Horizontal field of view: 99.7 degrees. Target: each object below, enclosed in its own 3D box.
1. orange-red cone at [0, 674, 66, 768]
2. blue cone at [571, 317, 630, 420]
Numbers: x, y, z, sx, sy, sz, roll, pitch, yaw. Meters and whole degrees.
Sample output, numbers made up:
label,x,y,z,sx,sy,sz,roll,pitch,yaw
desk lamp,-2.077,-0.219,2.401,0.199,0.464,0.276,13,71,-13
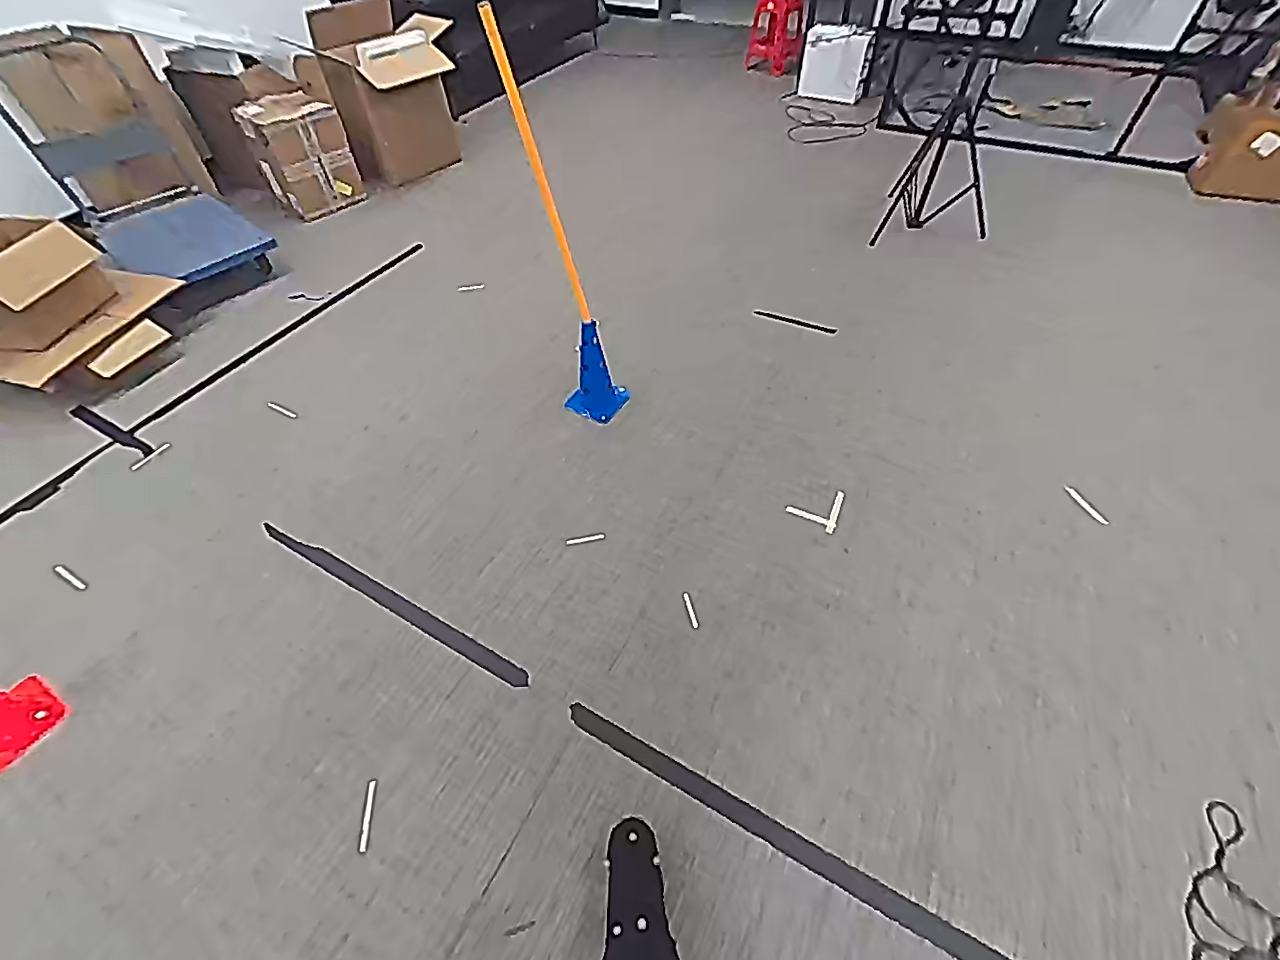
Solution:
label,x,y,z,sx,sy,sz,roll,pitch,yaw
orange-red cone,-1.585,0.504,1.221,0.199,0.360,0.198,25,56,21
blue cone,-0.158,-0.417,1.947,0.192,0.380,0.193,26,56,20
